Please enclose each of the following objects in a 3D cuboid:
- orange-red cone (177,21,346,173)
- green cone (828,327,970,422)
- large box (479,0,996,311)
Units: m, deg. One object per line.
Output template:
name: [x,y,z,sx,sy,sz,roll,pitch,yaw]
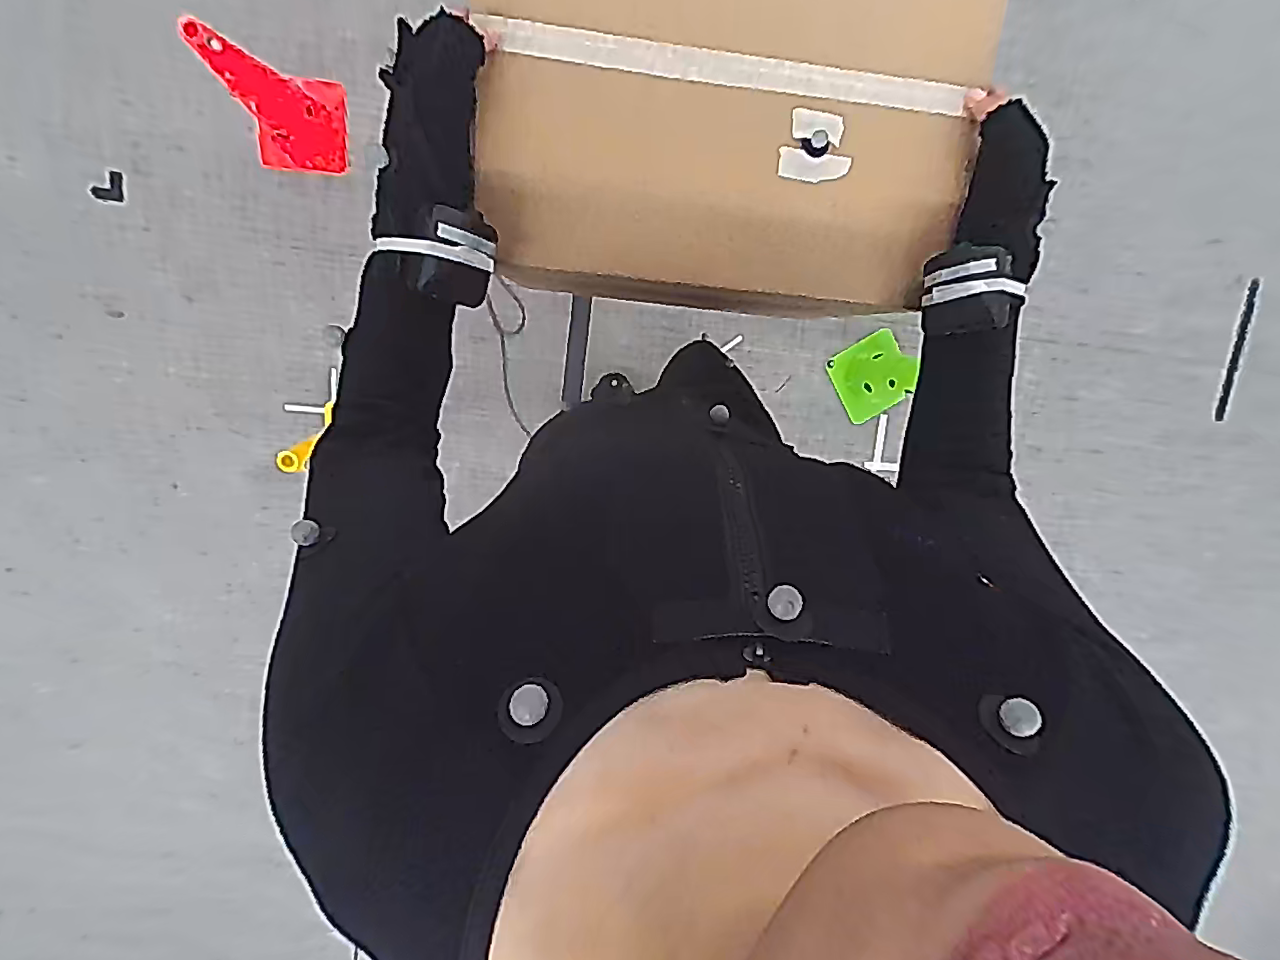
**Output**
orange-red cone: [-0.781,-0.798,1.096,0.198,0.360,0.199,4,101,-4]
green cone: [0.643,-0.253,1.291,0.202,0.368,0.200,-31,101,0]
large box: [0.062,-0.360,0.564,0.408,0.320,0.320,4,105,-7]
